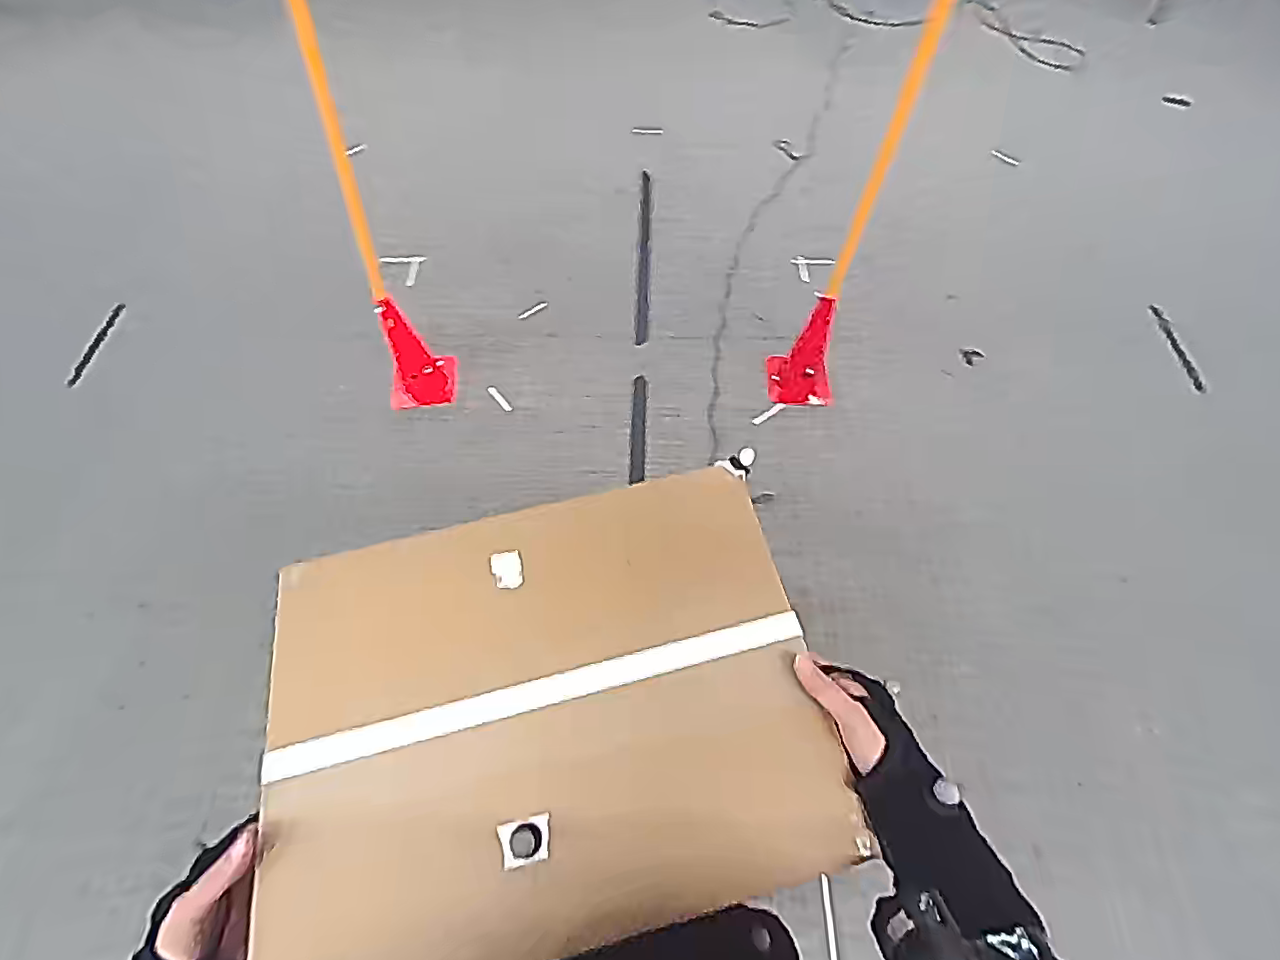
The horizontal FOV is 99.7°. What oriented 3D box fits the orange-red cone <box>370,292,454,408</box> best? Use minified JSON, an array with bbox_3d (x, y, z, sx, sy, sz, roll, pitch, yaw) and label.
[{"bbox_3d":[-0.703,-0.401,1.591,0.199,0.360,0.198,-8,60,-3],"label":"orange-red cone"}]
